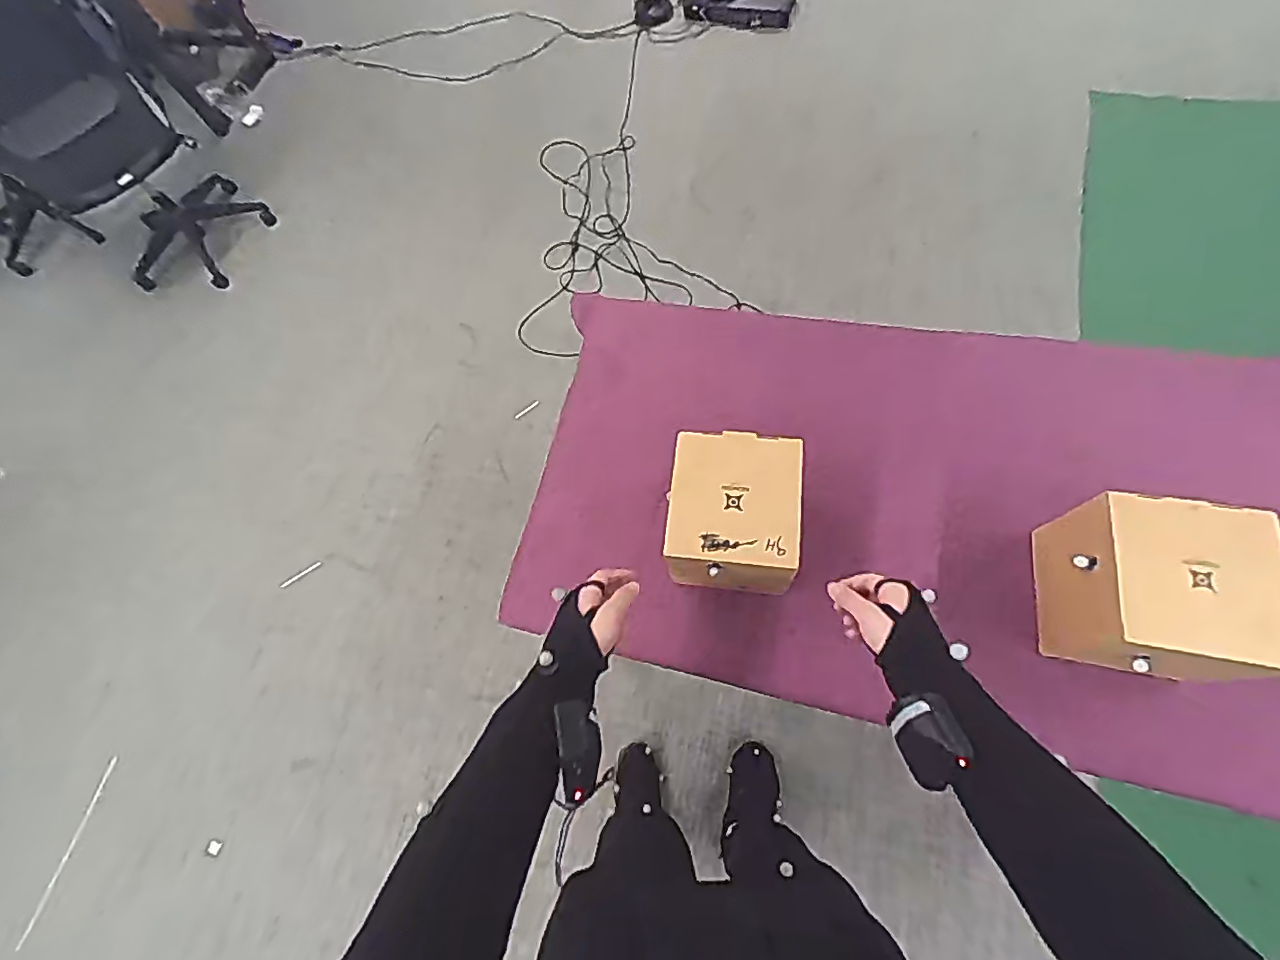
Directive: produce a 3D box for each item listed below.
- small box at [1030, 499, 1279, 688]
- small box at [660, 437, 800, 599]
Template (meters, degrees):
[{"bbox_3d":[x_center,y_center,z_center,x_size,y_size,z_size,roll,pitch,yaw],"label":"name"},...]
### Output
[{"bbox_3d":[0.605,0.144,0.654,0.168,0.176,0.179,9,68,12],"label":"small box"},{"bbox_3d":[0.127,0.059,0.761,0.168,0.176,0.179,5,69,11],"label":"small box"}]
